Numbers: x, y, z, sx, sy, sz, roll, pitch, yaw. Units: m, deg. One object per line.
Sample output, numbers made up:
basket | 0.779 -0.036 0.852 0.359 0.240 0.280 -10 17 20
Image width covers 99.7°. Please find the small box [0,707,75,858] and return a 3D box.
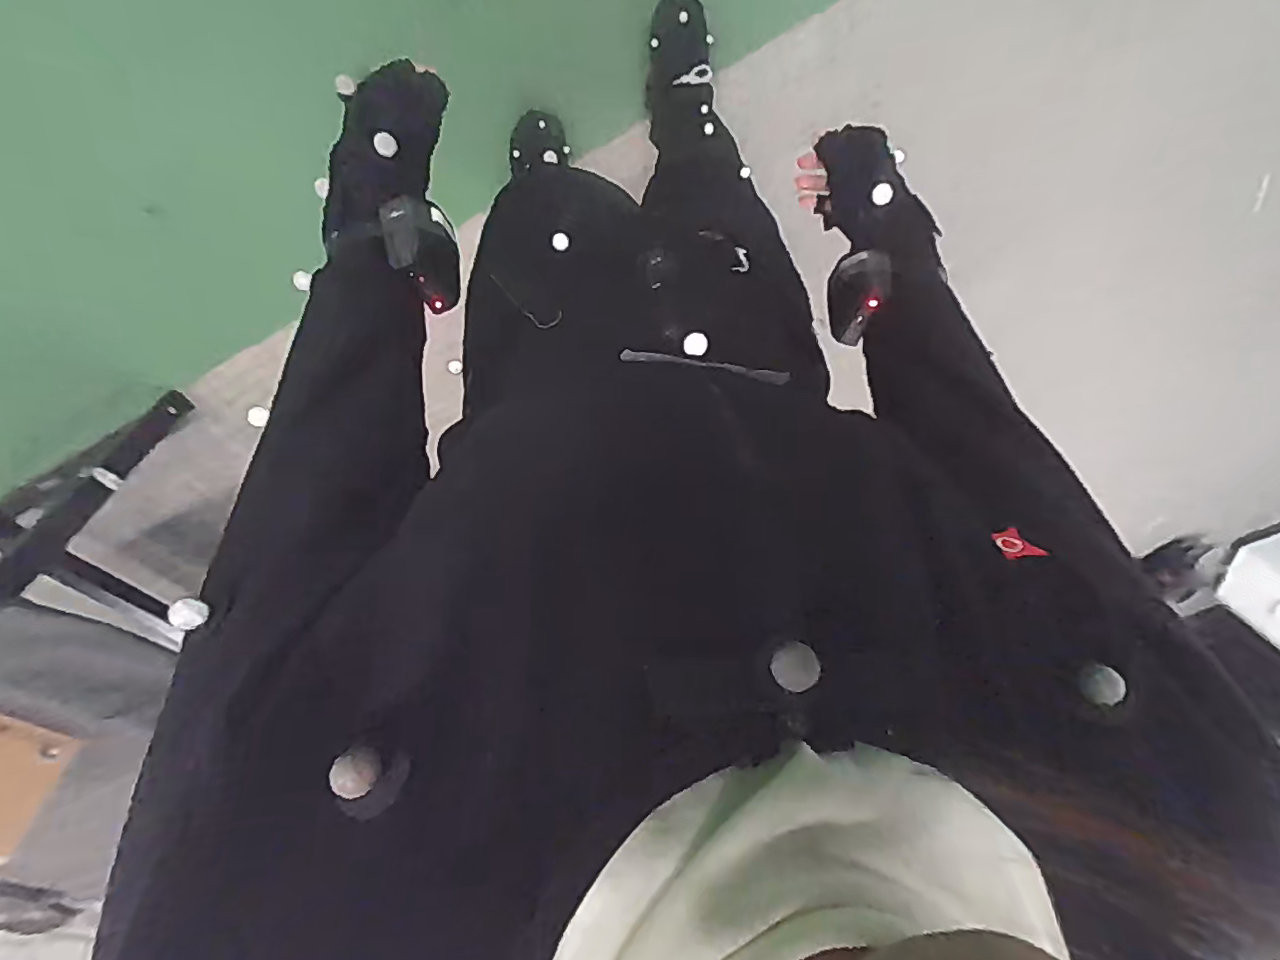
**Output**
small box | -0.985 0.444 0.772 0.179 0.176 0.168 -24 130 9
